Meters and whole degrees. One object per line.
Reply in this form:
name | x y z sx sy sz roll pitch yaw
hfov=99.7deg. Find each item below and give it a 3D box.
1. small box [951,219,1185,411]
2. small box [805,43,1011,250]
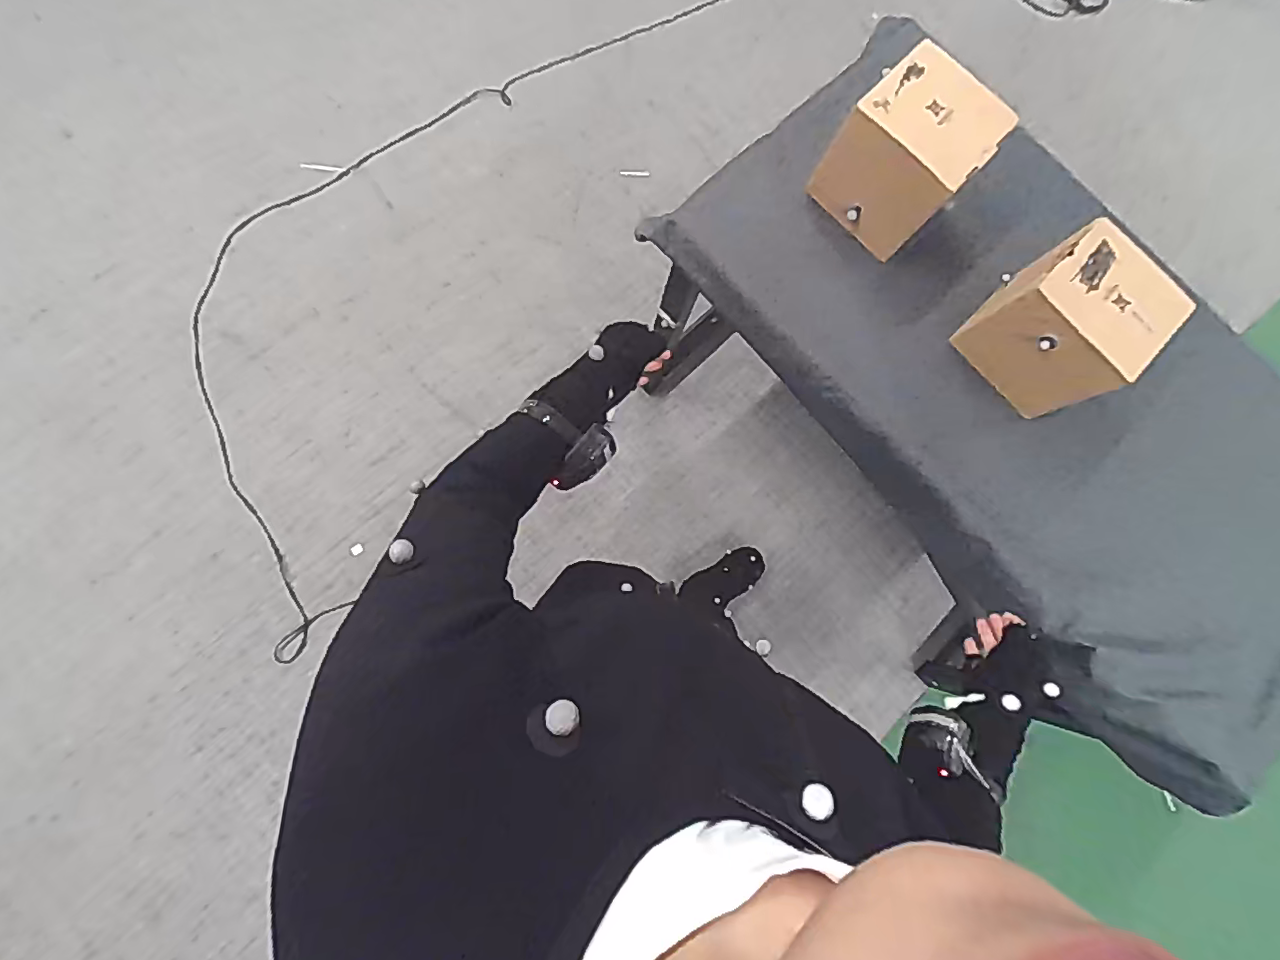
small box | 0.610 -0.229 0.794 0.168 0.176 0.179 -43 88 -12
small box | 0.388 -0.478 0.810 0.179 0.176 0.168 44 78 1
